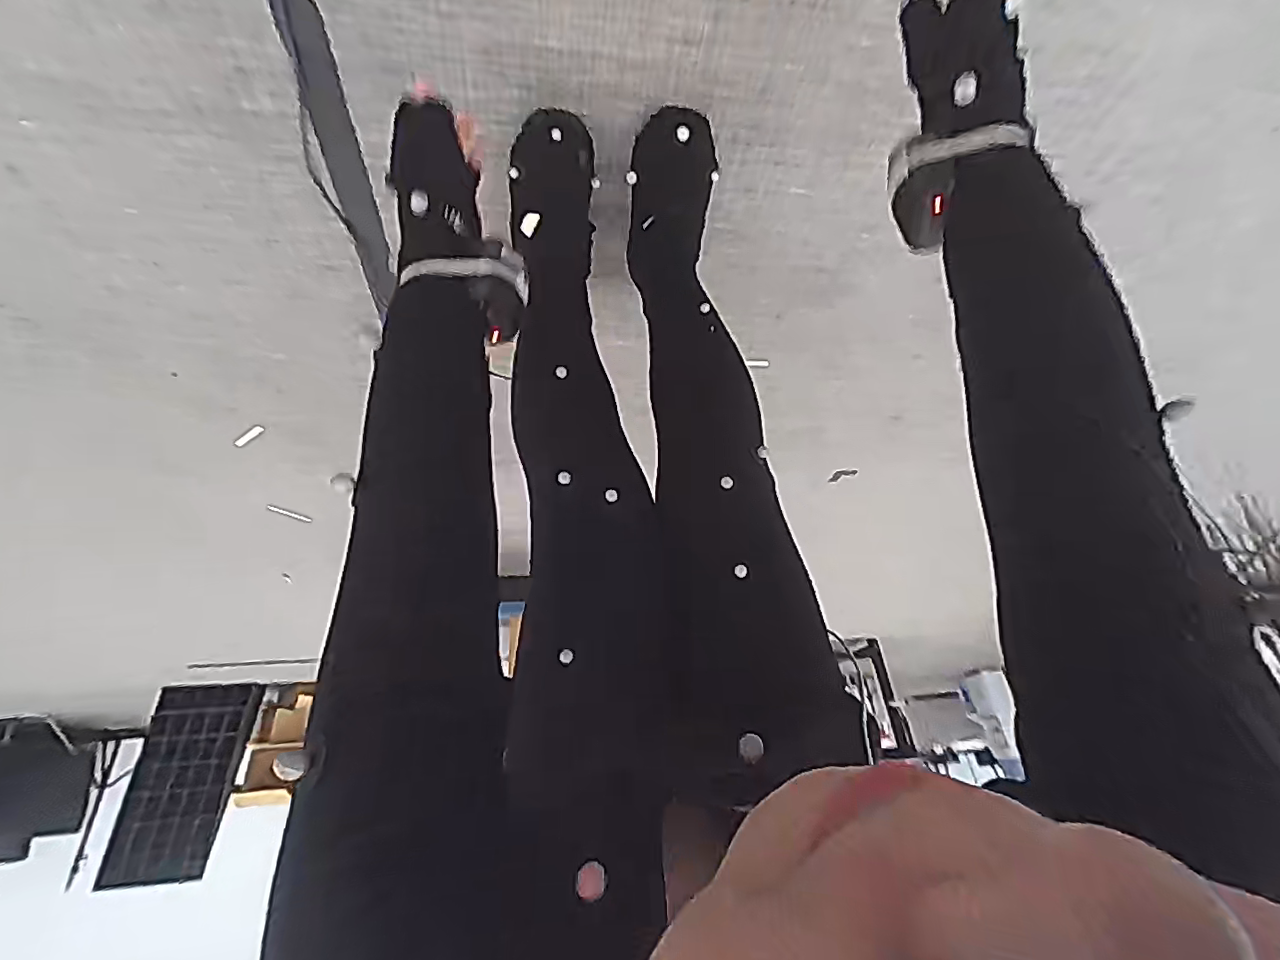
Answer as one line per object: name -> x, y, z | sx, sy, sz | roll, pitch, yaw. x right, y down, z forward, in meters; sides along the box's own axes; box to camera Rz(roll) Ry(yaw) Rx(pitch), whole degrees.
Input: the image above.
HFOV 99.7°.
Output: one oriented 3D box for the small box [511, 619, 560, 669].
small box -> -0.374, 0.603, 1.953 | 0.168, 0.176, 0.179 | 0, 151, -8
